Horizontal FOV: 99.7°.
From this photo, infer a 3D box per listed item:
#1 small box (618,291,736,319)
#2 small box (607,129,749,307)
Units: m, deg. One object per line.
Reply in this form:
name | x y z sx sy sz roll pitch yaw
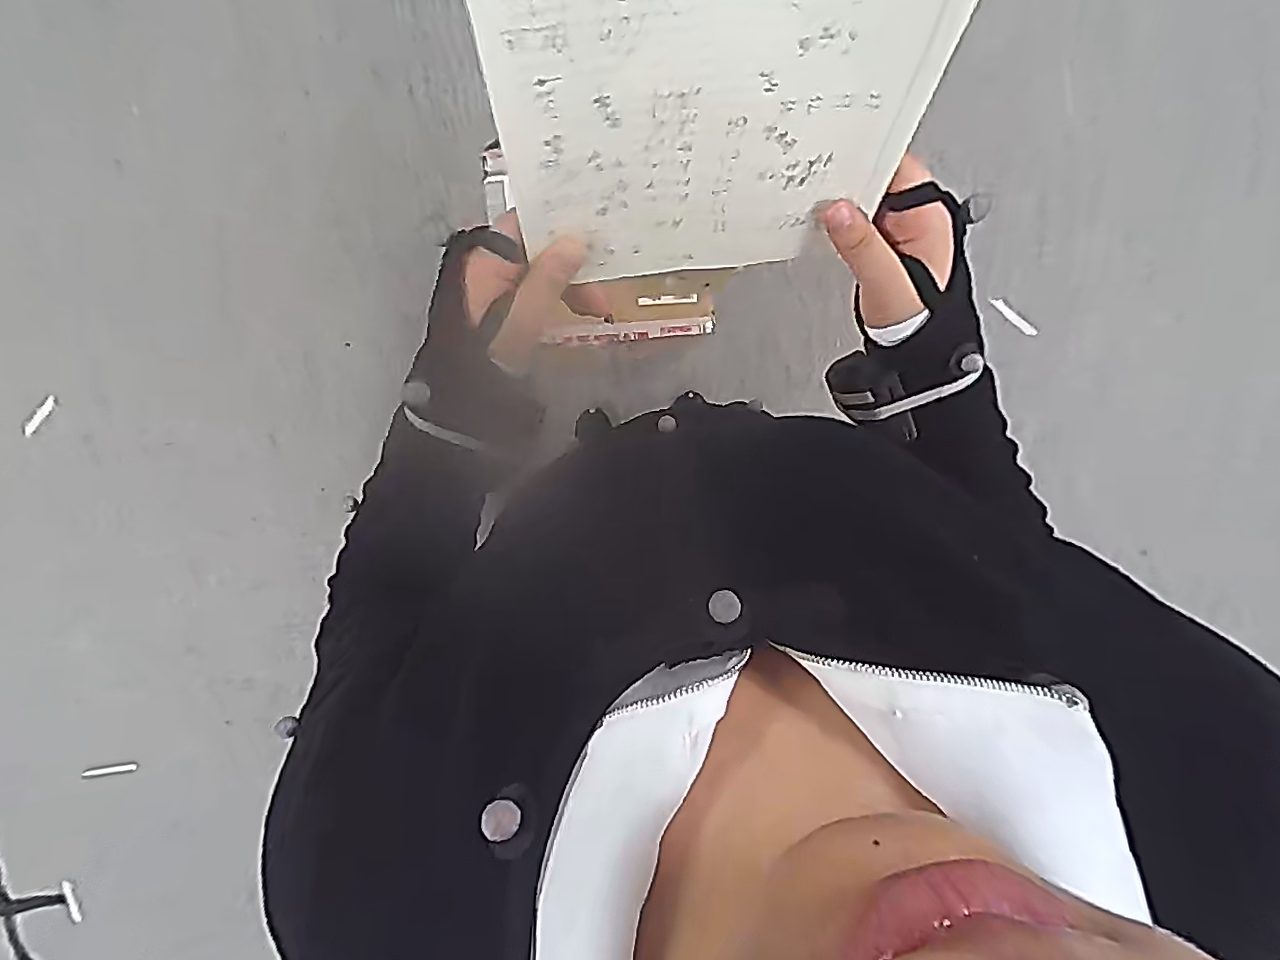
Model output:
small box | 0.049 -0.365 0.888 0.179 0.176 0.168 -6 99 -3
small box | 0.042 -0.336 0.725 0.168 0.176 0.179 -2 100 -4
